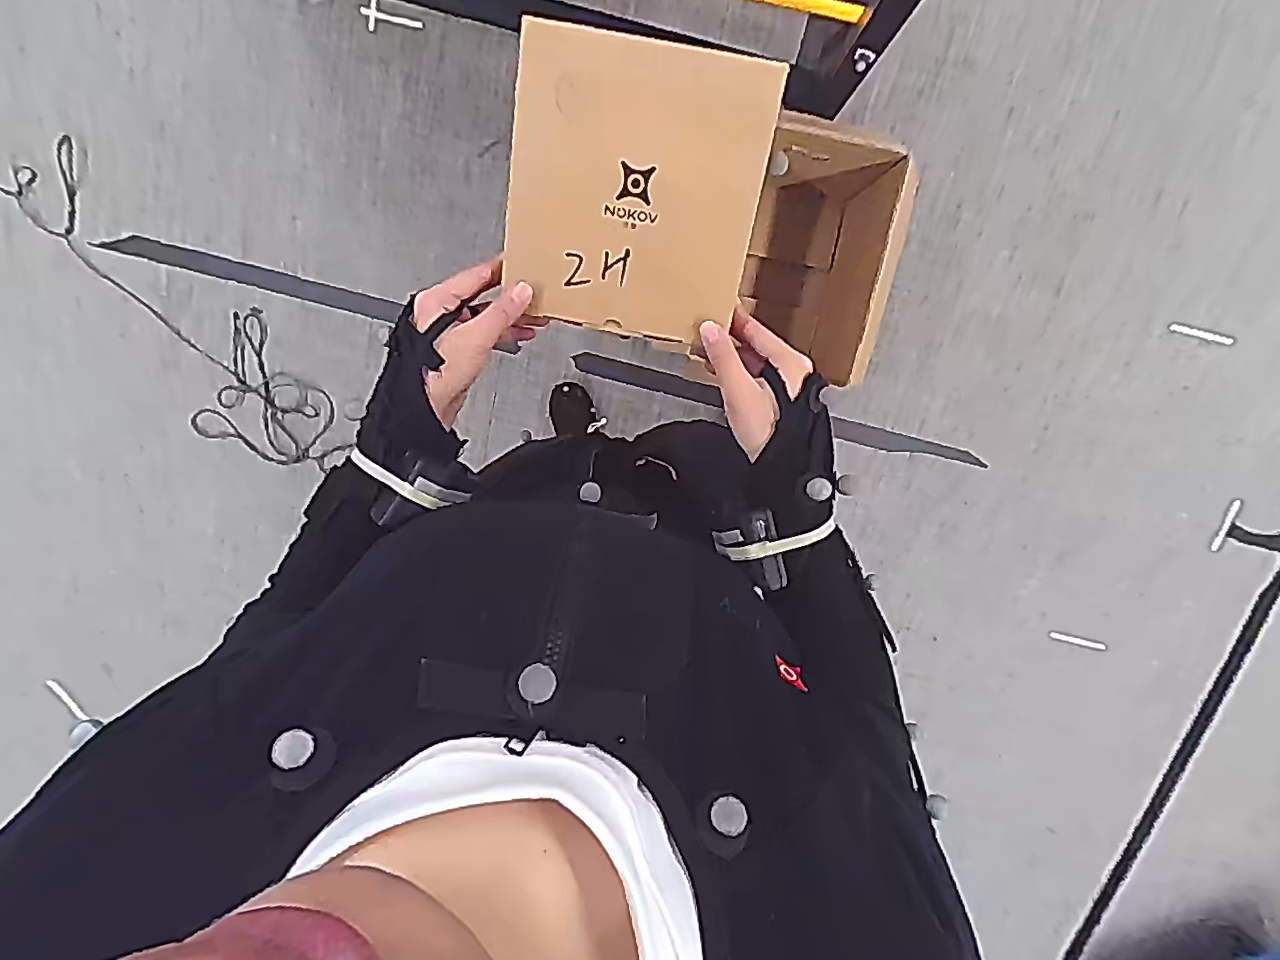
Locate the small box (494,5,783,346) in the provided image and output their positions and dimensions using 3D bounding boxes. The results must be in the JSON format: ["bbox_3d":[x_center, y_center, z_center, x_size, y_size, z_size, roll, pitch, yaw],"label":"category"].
[{"bbox_3d":[-0.002,-0.216,0.427,0.168,0.176,0.179,11,110,1],"label":"small box"}]
